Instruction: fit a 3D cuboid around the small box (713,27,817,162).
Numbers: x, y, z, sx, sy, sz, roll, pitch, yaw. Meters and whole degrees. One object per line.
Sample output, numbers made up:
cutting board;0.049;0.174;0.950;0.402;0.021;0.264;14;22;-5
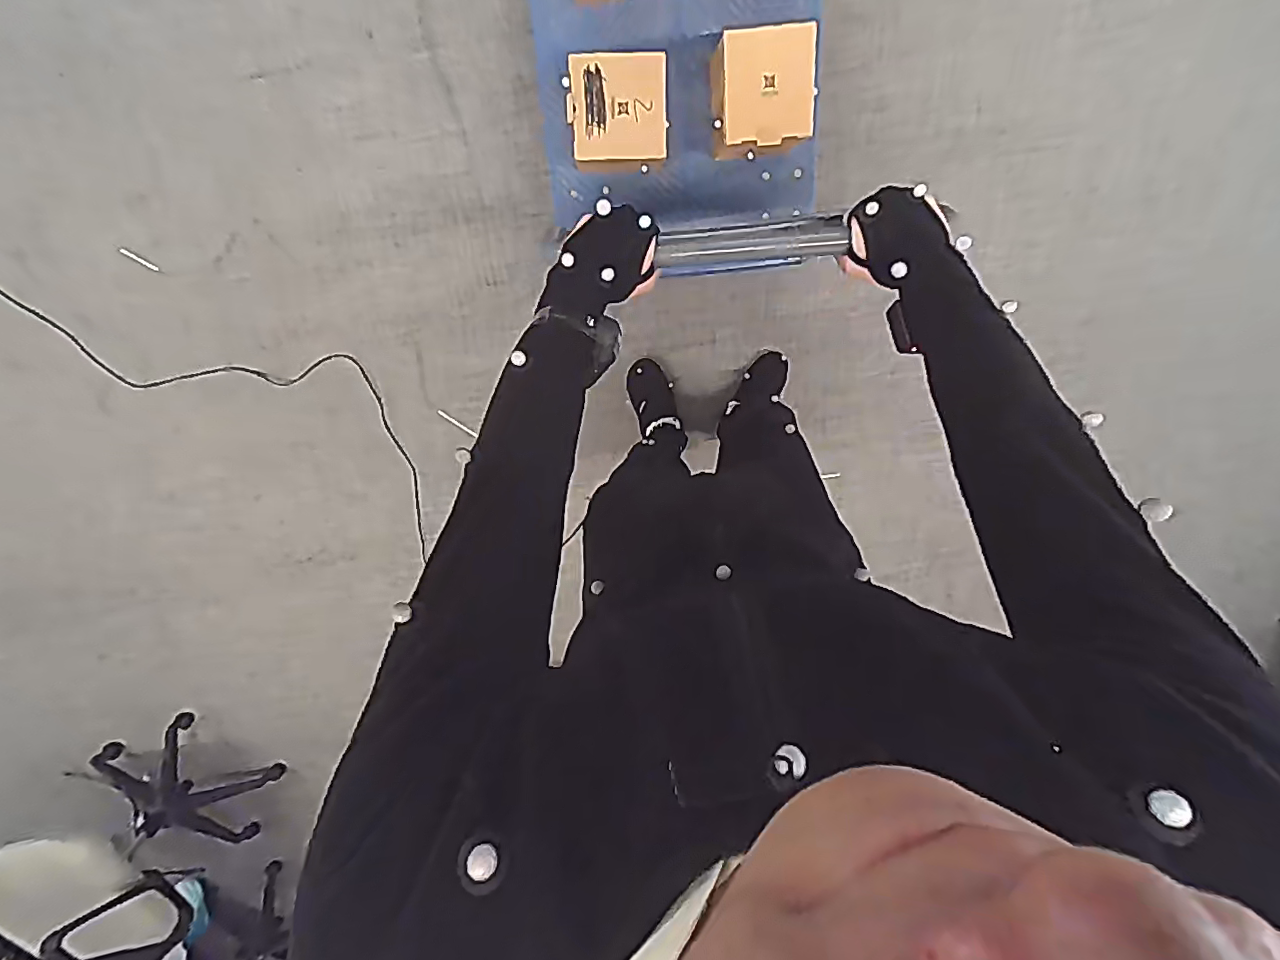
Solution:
small box;0.236;-0.742;1.057;0.168;0.176;0.179;-5;112;1

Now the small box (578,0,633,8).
small box;-0.052;-0.977;0.954;0.168;0.176;0.179;-10;112;2
